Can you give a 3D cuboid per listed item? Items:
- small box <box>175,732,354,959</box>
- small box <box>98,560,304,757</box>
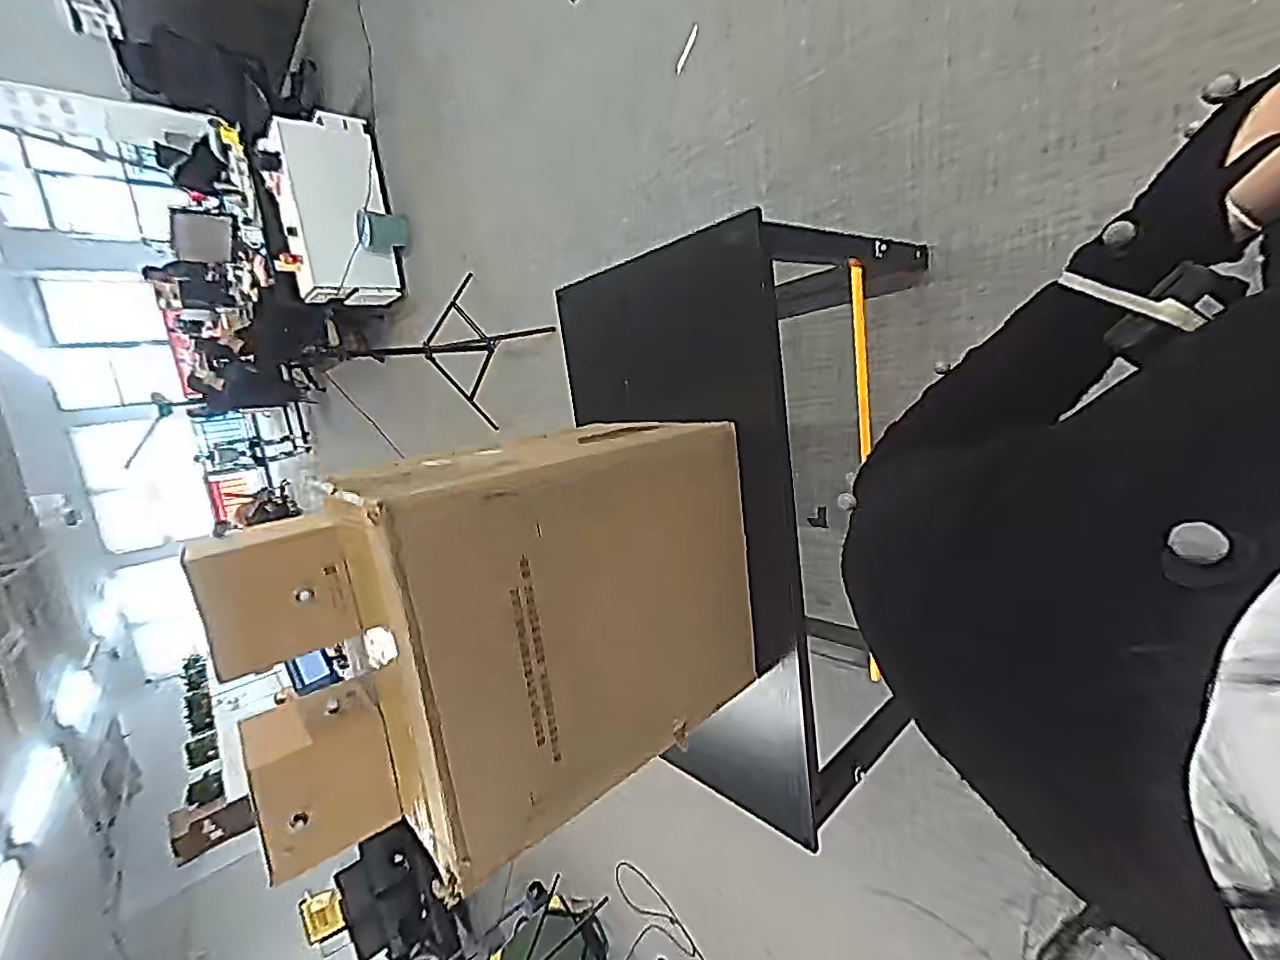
[{"bbox_3d":[-0.516,0.494,0.752,0.168,0.176,0.179,6,105,50],"label":"small box"},{"bbox_3d":[-0.561,0.214,0.711,0.179,0.176,0.168,3,106,51],"label":"small box"}]
